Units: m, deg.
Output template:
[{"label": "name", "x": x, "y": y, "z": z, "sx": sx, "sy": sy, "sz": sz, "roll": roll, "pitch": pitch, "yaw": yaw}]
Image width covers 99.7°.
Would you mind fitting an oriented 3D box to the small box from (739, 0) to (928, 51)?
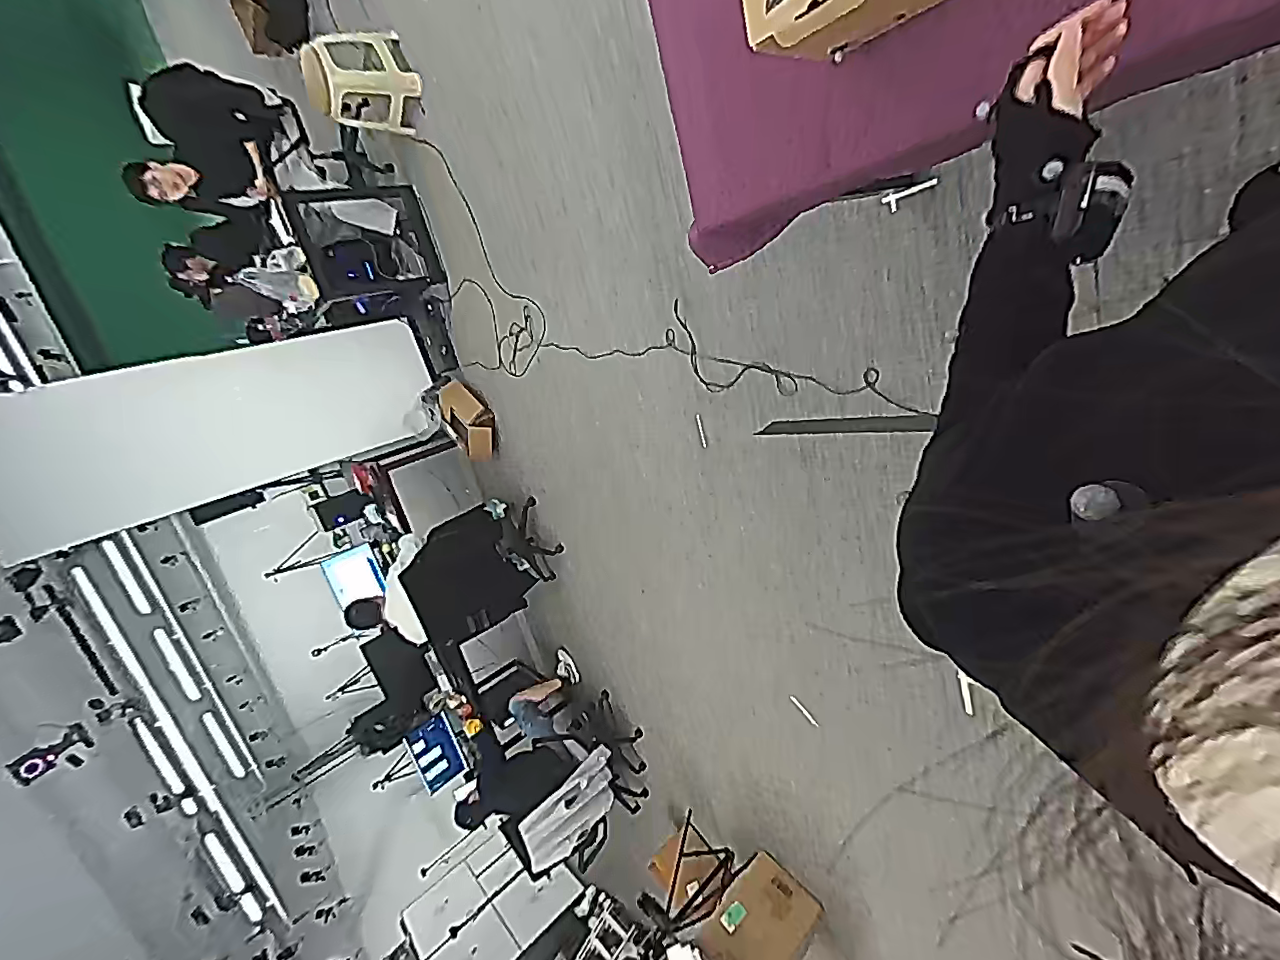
[{"label": "small box", "x": 0.214, "y": -0.590, "z": 0.572, "sx": 0.168, "sy": 0.176, "sz": 0.179, "roll": 8, "pitch": 117, "yaw": 49}]
